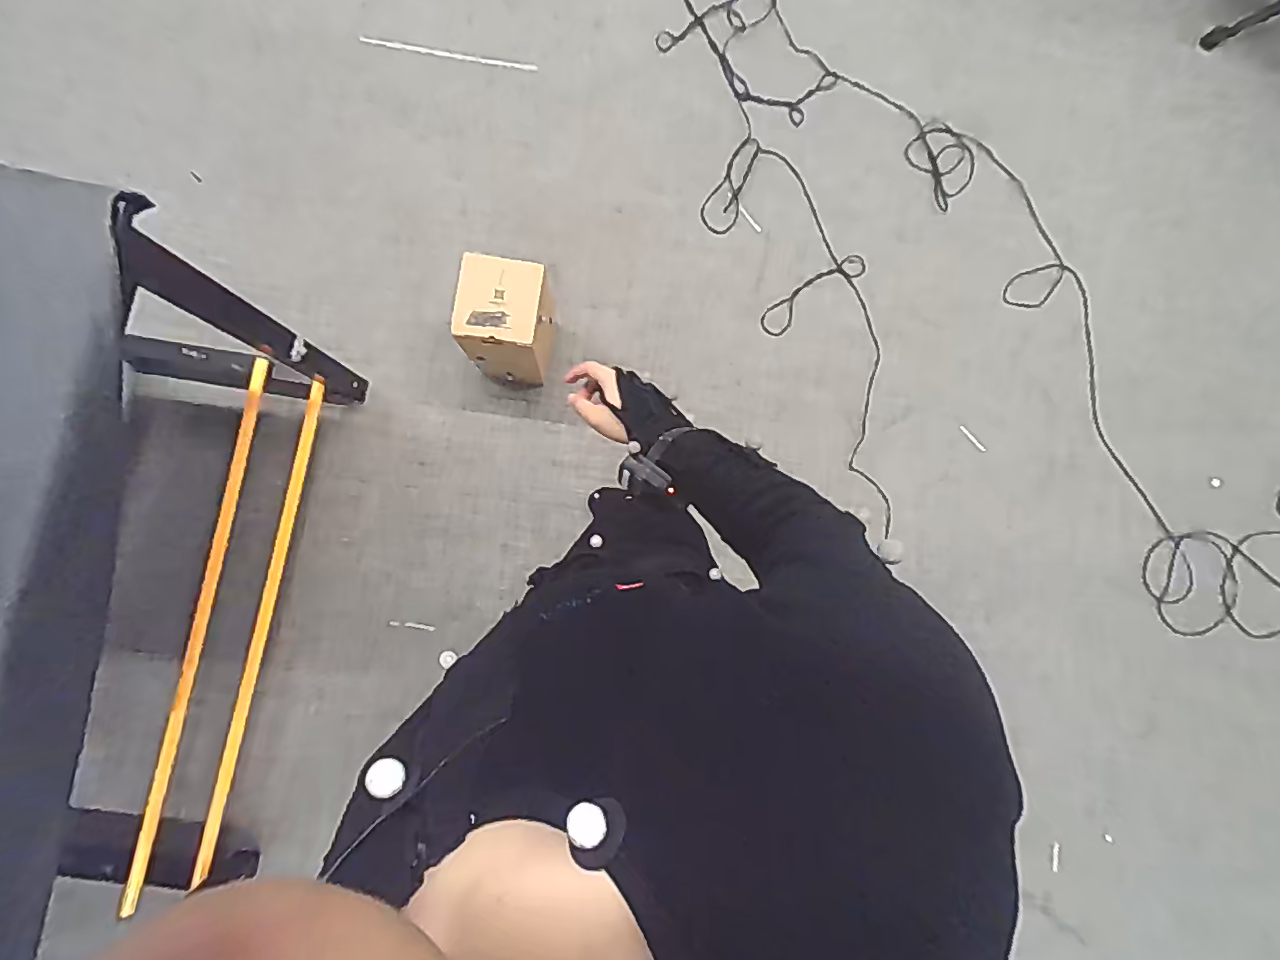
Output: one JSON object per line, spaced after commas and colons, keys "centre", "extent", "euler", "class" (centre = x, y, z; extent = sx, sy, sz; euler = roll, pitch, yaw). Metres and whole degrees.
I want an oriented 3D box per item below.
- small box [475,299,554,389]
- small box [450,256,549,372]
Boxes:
{"centre": [-0.308, -0.340, 1.324], "extent": [0.168, 0.176, 0.179], "euler": [10, 82, -3], "class": "small box"}
{"centre": [-0.292, -0.346, 1.160], "extent": [0.168, 0.176, 0.179], "euler": [7, 82, -4], "class": "small box"}
